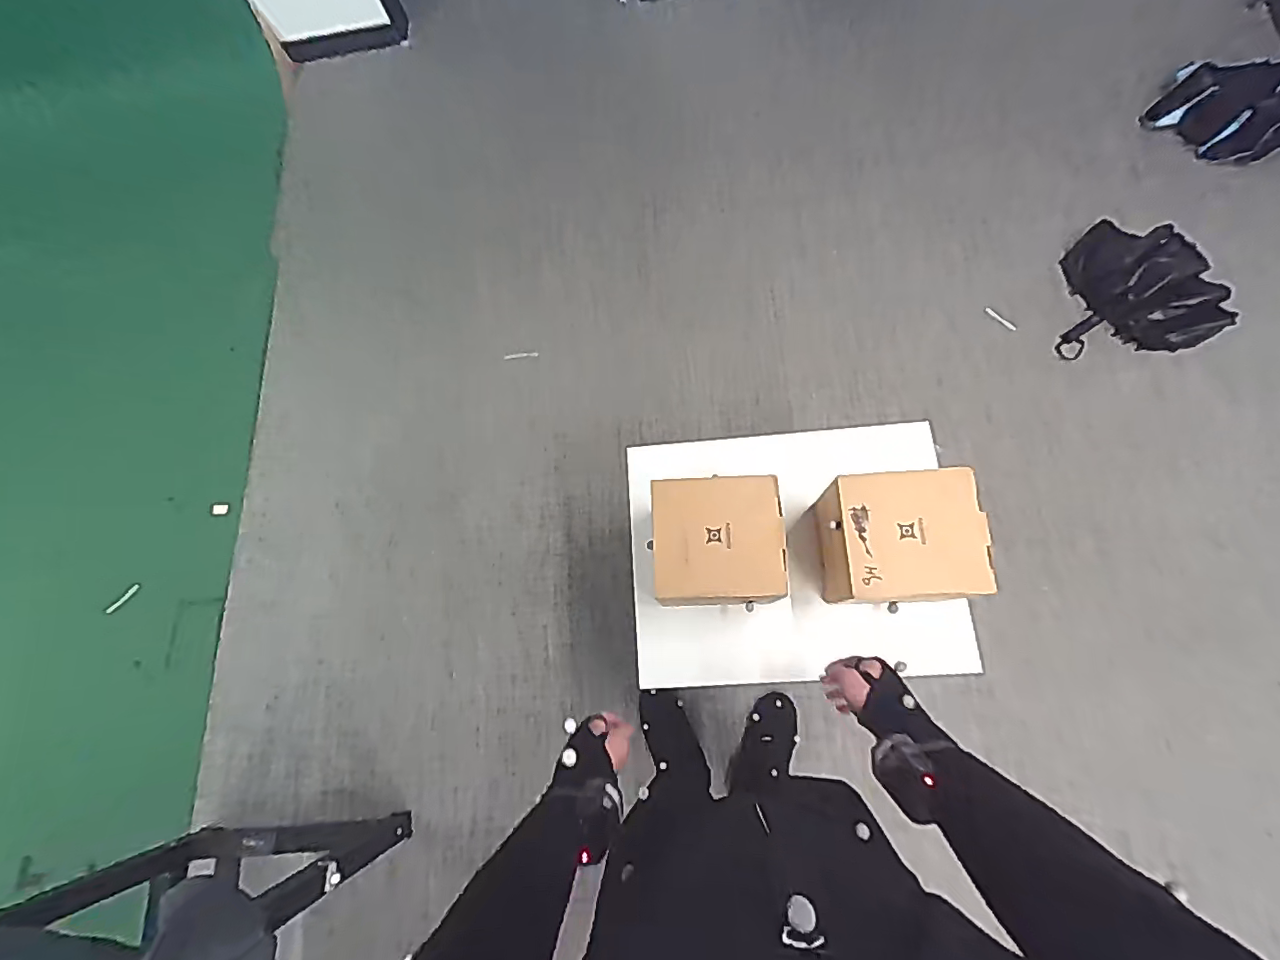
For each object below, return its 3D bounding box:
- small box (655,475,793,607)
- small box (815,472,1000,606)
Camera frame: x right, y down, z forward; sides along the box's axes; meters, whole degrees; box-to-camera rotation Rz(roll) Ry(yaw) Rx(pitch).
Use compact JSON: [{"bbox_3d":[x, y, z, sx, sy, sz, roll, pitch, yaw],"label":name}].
[{"bbox_3d":[0.114,0.095,0.790,0.179,0.176,0.168,-3,73,5],"label":"small box"},{"bbox_3d":[0.363,0.090,0.767,0.179,0.176,0.168,-2,74,4],"label":"small box"}]
